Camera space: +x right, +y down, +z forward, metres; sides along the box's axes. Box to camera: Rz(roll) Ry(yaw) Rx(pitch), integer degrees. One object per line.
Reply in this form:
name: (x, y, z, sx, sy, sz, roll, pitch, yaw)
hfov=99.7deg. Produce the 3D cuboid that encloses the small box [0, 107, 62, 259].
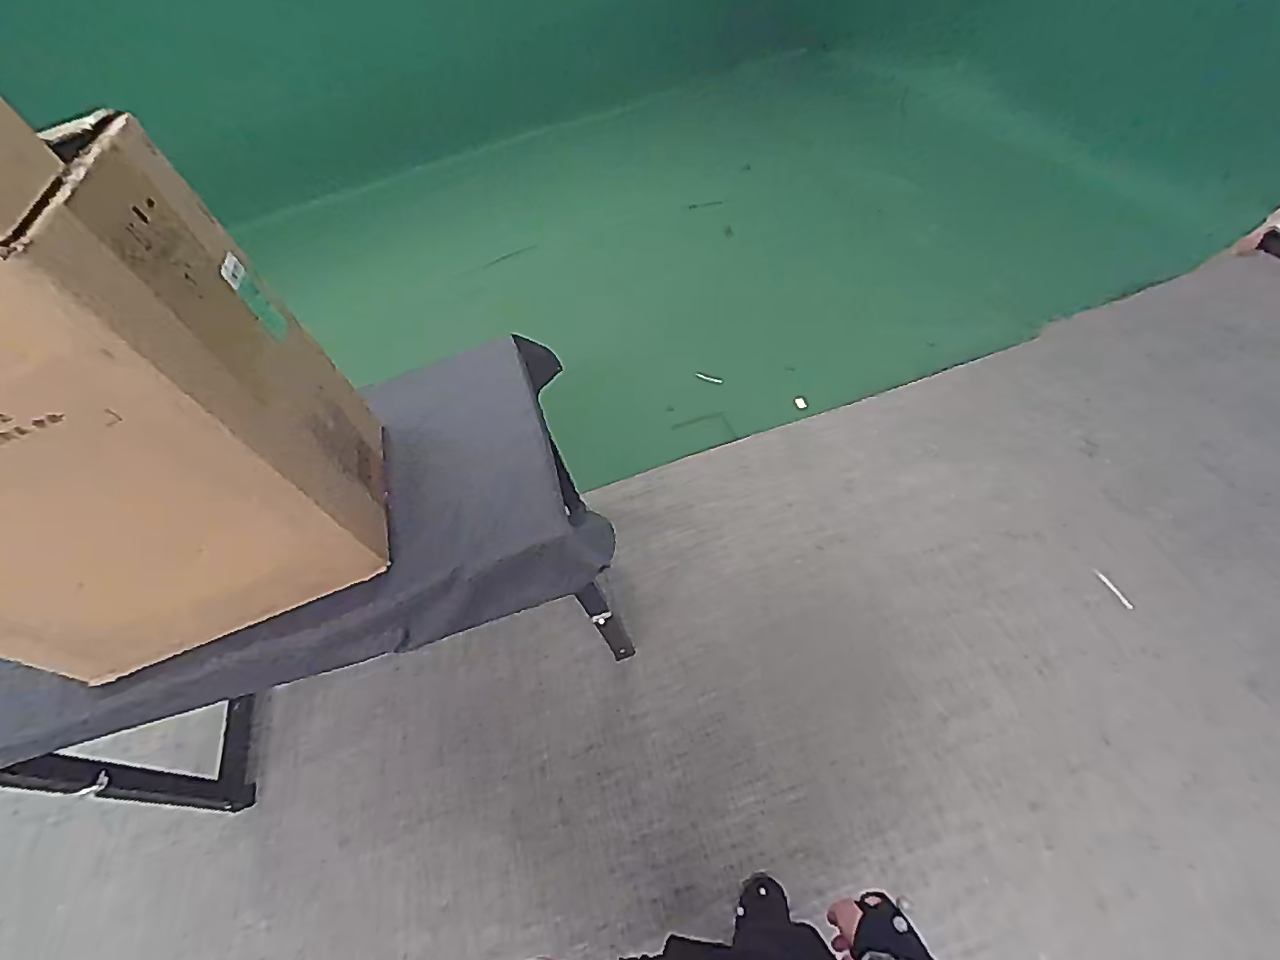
small box: (-0.669, -0.283, 0.459, 0.168, 0.176, 0.179, -21, 53, -5)
